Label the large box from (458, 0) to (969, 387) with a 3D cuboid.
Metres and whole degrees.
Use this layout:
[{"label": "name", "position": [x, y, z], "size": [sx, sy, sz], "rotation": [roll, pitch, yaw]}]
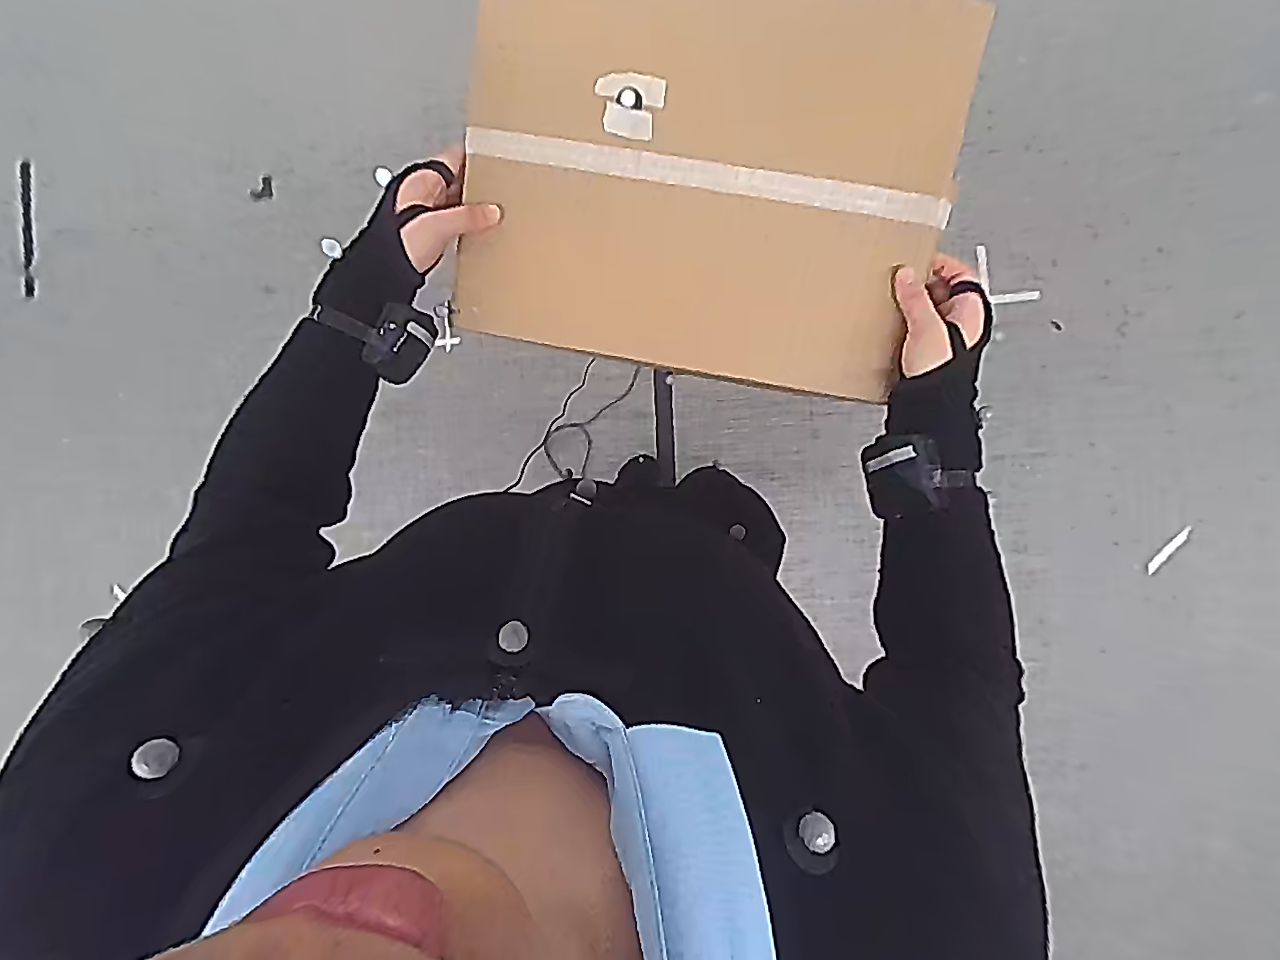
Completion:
[{"label": "large box", "position": [0.061, -0.286, 0.610], "size": [0.408, 0.320, 0.320], "rotation": [10, 100, 4]}]
